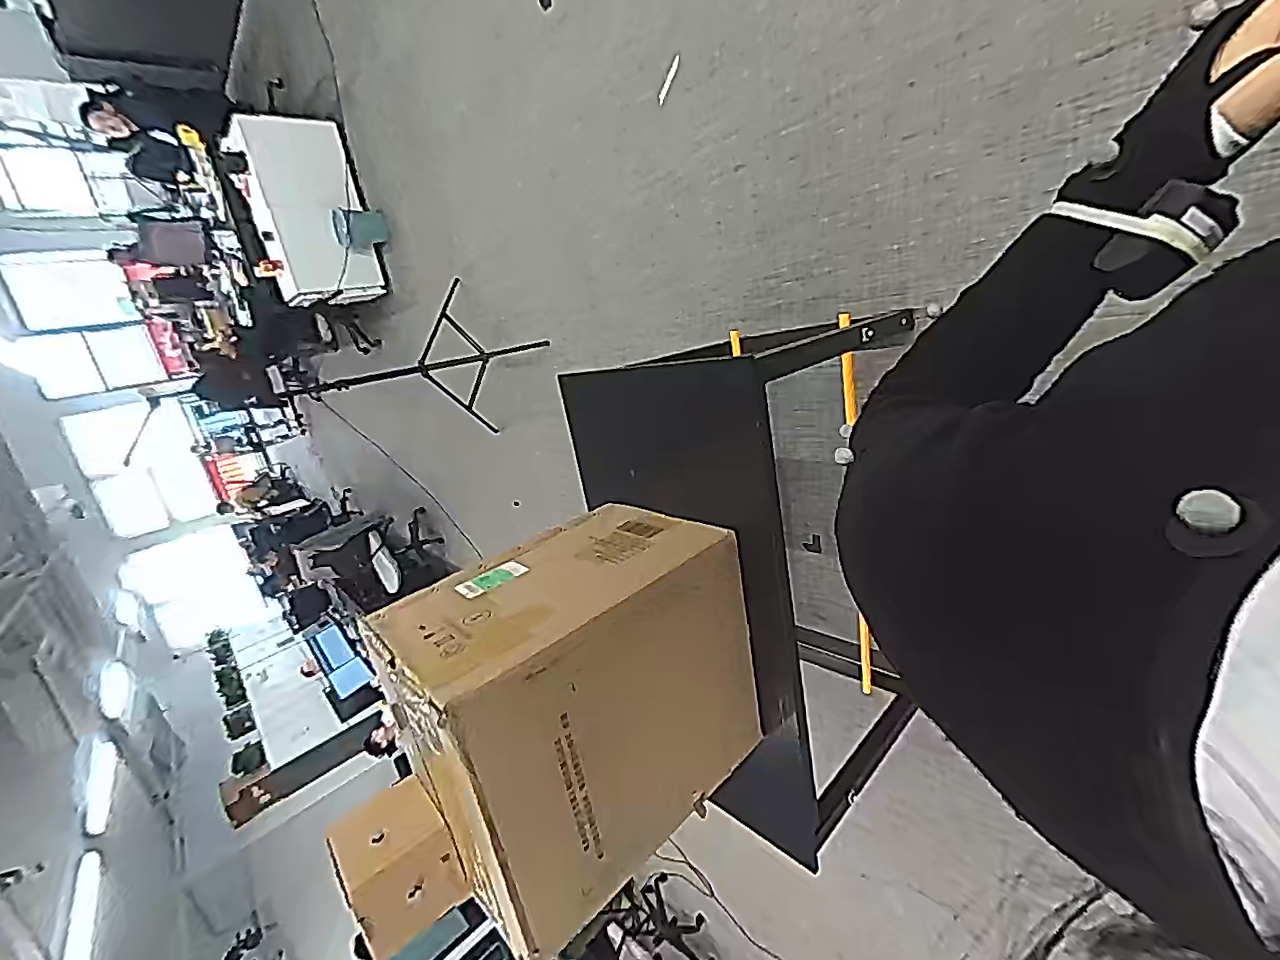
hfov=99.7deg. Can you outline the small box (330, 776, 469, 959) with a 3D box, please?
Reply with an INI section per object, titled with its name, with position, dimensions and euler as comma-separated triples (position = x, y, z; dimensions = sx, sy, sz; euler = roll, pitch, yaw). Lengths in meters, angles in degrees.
[small box]
position = -0.428, 0.683, 0.980
dimensions = 0.179, 0.176, 0.168
euler = 9, 115, 49
